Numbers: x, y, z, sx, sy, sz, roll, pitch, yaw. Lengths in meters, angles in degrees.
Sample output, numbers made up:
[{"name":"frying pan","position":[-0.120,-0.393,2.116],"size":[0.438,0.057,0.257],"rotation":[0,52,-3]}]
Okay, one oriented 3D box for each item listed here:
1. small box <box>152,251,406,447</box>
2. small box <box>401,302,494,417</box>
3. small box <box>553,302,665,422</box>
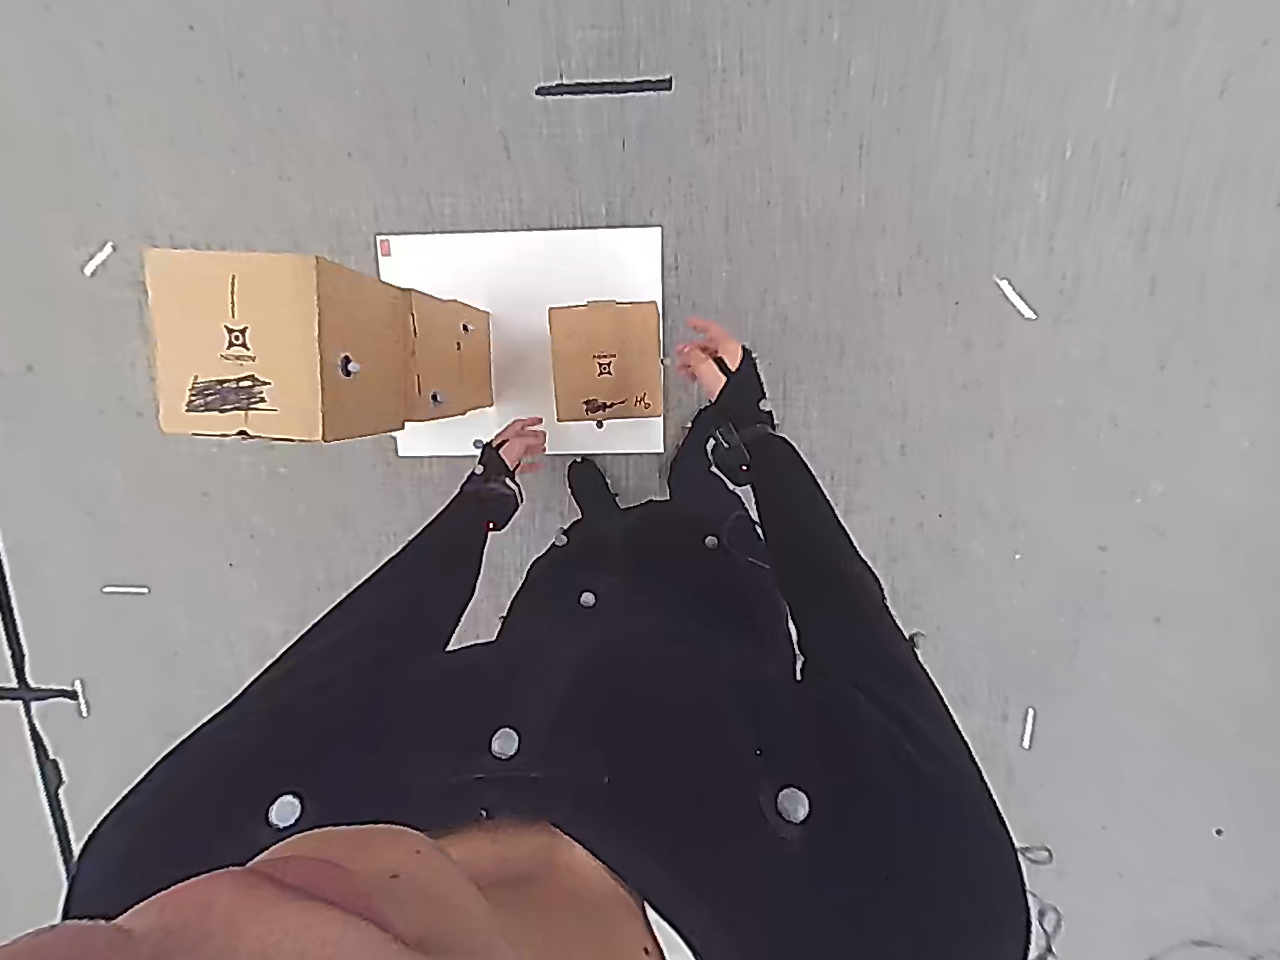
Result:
[{"name":"small box","position":[-0.373,-0.136,0.593],"size":[0.168,0.176,0.179],"rotation":[3,99,2]},{"name":"small box","position":[-0.352,-0.201,0.915],"size":[0.168,0.176,0.179],"rotation":[0,100,2]},{"name":"small box","position":[-0.044,-0.190,0.902],"size":[0.168,0.176,0.179],"rotation":[-2,100,4]}]
